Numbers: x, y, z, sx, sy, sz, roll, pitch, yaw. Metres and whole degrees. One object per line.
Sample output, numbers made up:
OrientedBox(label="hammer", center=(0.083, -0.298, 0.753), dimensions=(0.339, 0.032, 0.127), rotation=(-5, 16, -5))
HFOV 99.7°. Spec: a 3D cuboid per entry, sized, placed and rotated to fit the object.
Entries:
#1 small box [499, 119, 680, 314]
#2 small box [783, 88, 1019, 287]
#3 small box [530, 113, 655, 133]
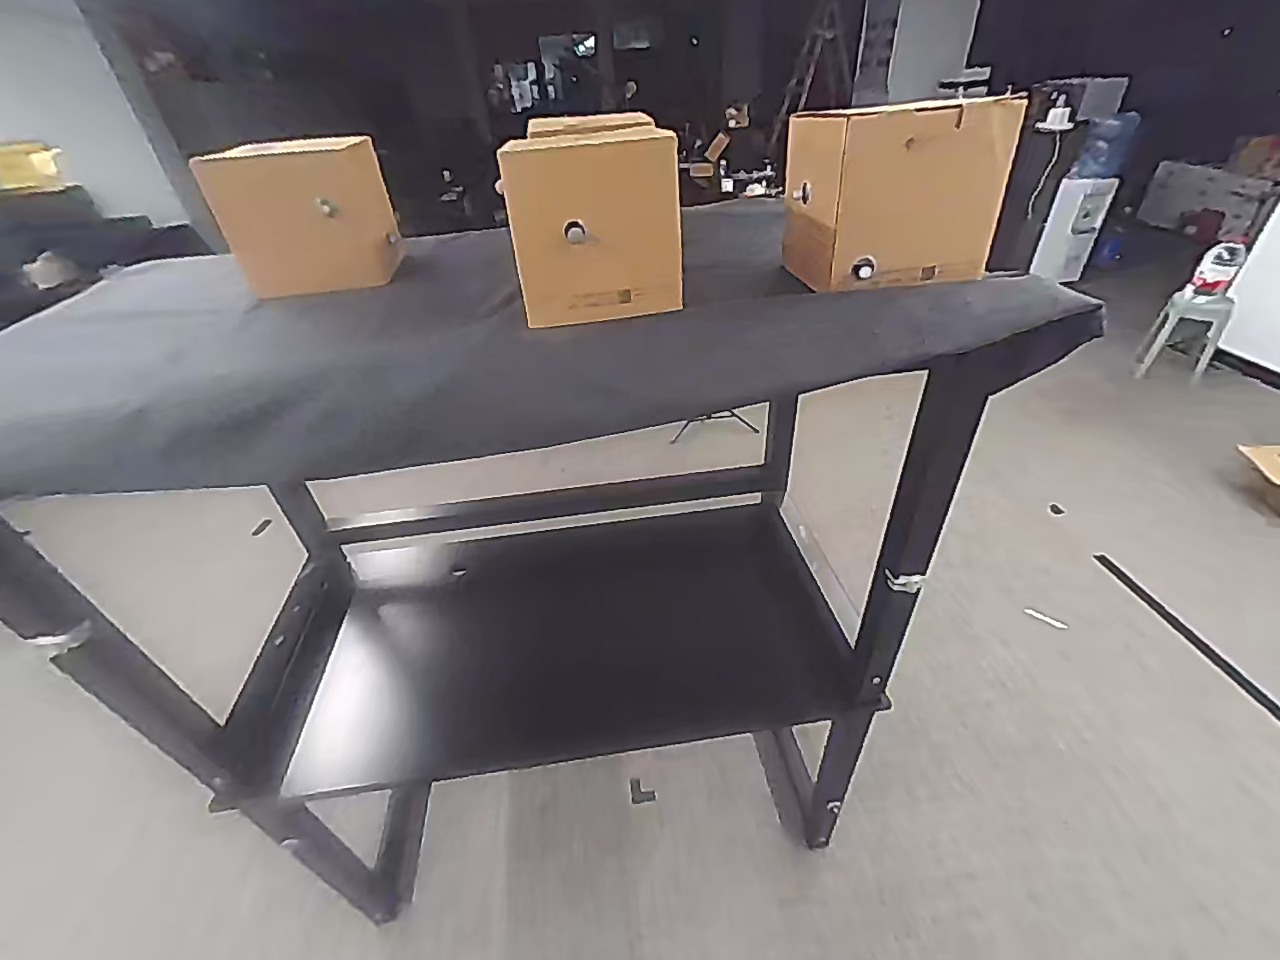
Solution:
OrientedBox(label="small box", center=(-0.050, -0.292, 0.605), dimensions=(0.168, 0.176, 0.179), rotation=(-7, 34, -3))
OrientedBox(label="small box", center=(0.265, -0.319, 0.600), dimensions=(0.168, 0.176, 0.179), rotation=(-6, 33, -1))
OrientedBox(label="small box", center=(-0.067, -0.442, 0.809), dimensions=(0.168, 0.176, 0.179), rotation=(-8, 36, -4))
